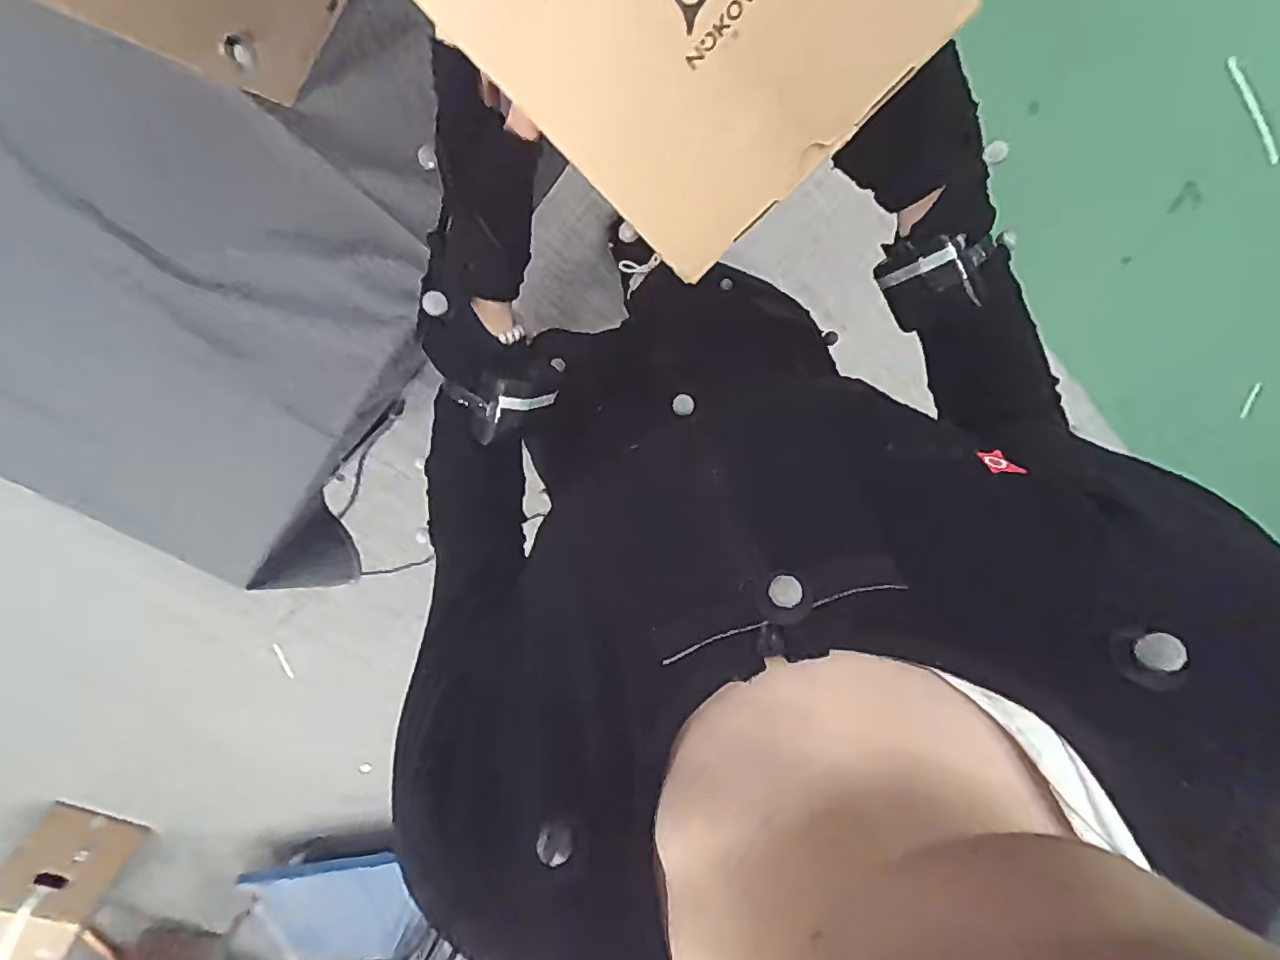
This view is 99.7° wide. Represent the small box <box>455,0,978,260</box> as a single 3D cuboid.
[{"bbox_3d":[0.027,-0.259,0.282,0.179,0.176,0.168,36,122,-28],"label":"small box"}]

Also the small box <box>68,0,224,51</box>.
[{"bbox_3d":[-0.331,-0.388,0.284,0.168,0.176,0.179,35,107,-18],"label":"small box"}]
